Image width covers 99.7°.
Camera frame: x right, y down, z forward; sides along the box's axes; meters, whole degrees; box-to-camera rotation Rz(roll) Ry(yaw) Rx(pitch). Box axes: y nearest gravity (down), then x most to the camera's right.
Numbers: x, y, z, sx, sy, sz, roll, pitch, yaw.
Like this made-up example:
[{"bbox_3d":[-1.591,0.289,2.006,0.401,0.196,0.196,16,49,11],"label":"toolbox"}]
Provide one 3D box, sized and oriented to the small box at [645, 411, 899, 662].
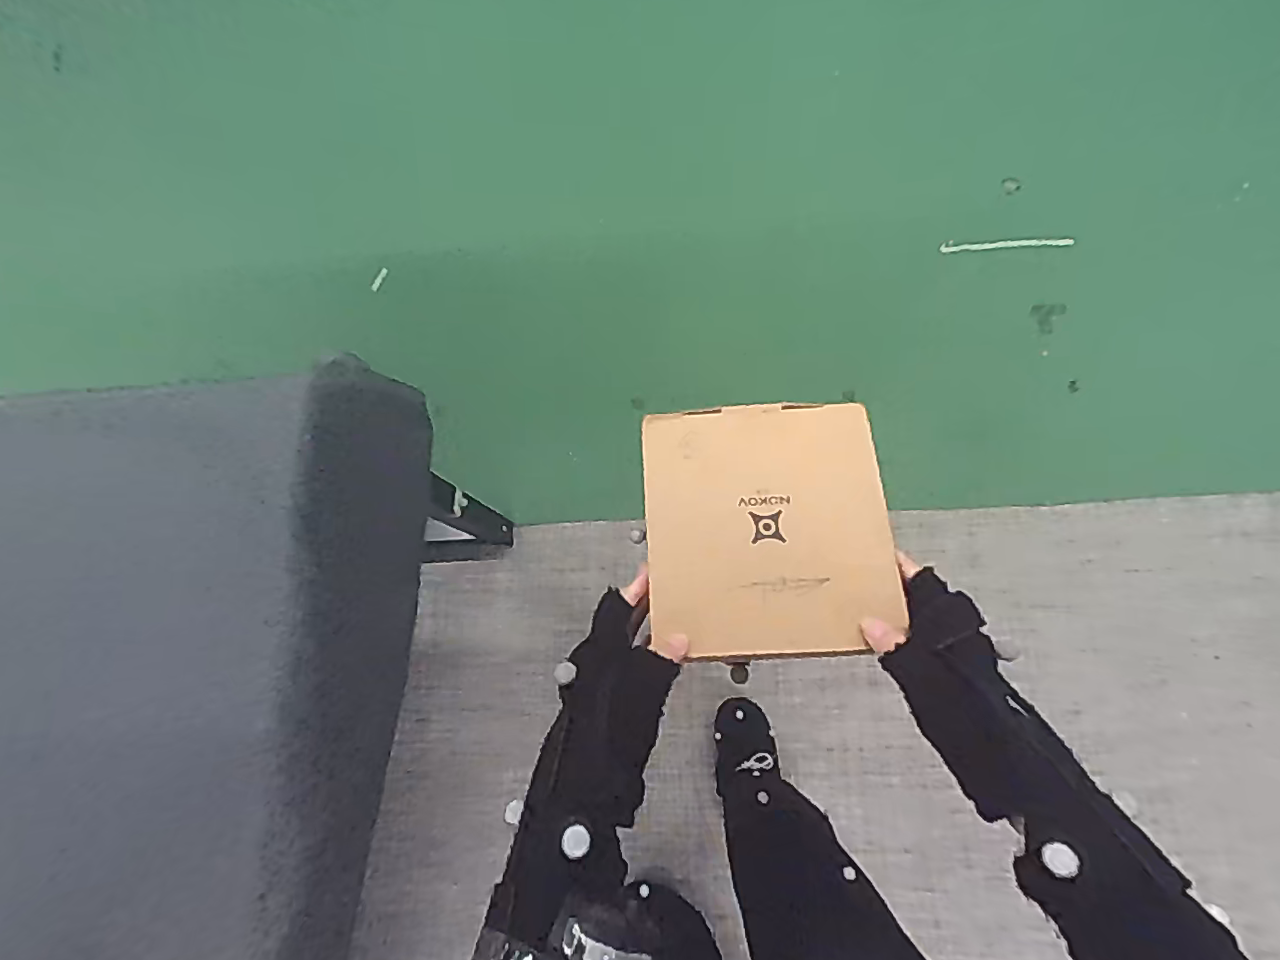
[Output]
[{"bbox_3d":[0.089,0.059,0.457,0.168,0.176,0.179,-3,72,2],"label":"small box"}]
